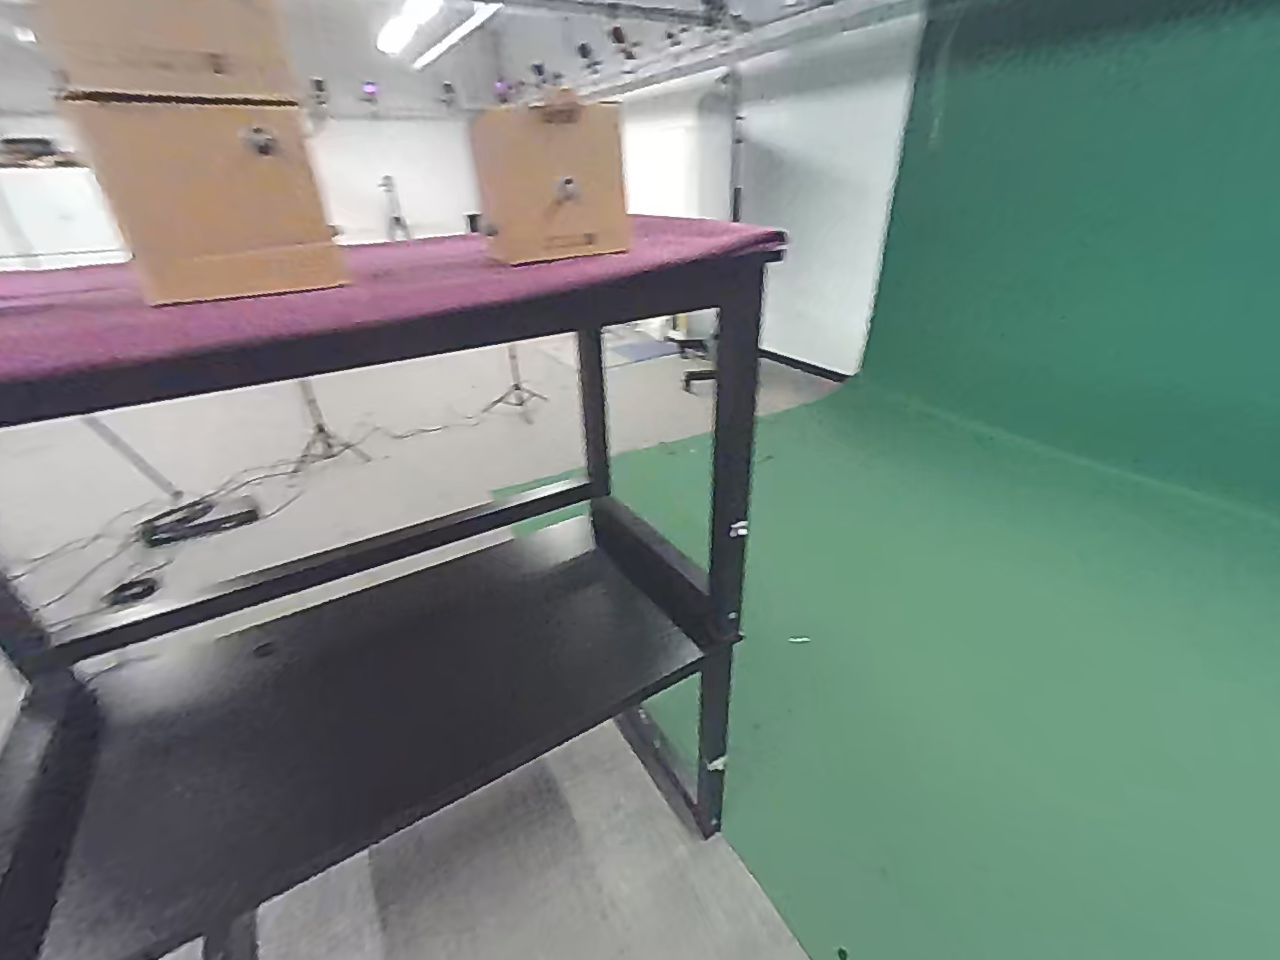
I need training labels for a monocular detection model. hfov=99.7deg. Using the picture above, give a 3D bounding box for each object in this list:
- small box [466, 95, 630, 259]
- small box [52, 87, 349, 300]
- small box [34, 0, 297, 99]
[{"bbox_3d":[-0.121,-0.396,0.721,0.168,0.176,0.179,-15,30,-19],"label":"small box"},{"bbox_3d":[-0.429,-0.290,0.563,0.179,0.176,0.168,-18,31,-26],"label":"small box"},{"bbox_3d":[-0.430,-0.434,0.489,0.168,0.176,0.179,-17,30,-29],"label":"small box"}]
